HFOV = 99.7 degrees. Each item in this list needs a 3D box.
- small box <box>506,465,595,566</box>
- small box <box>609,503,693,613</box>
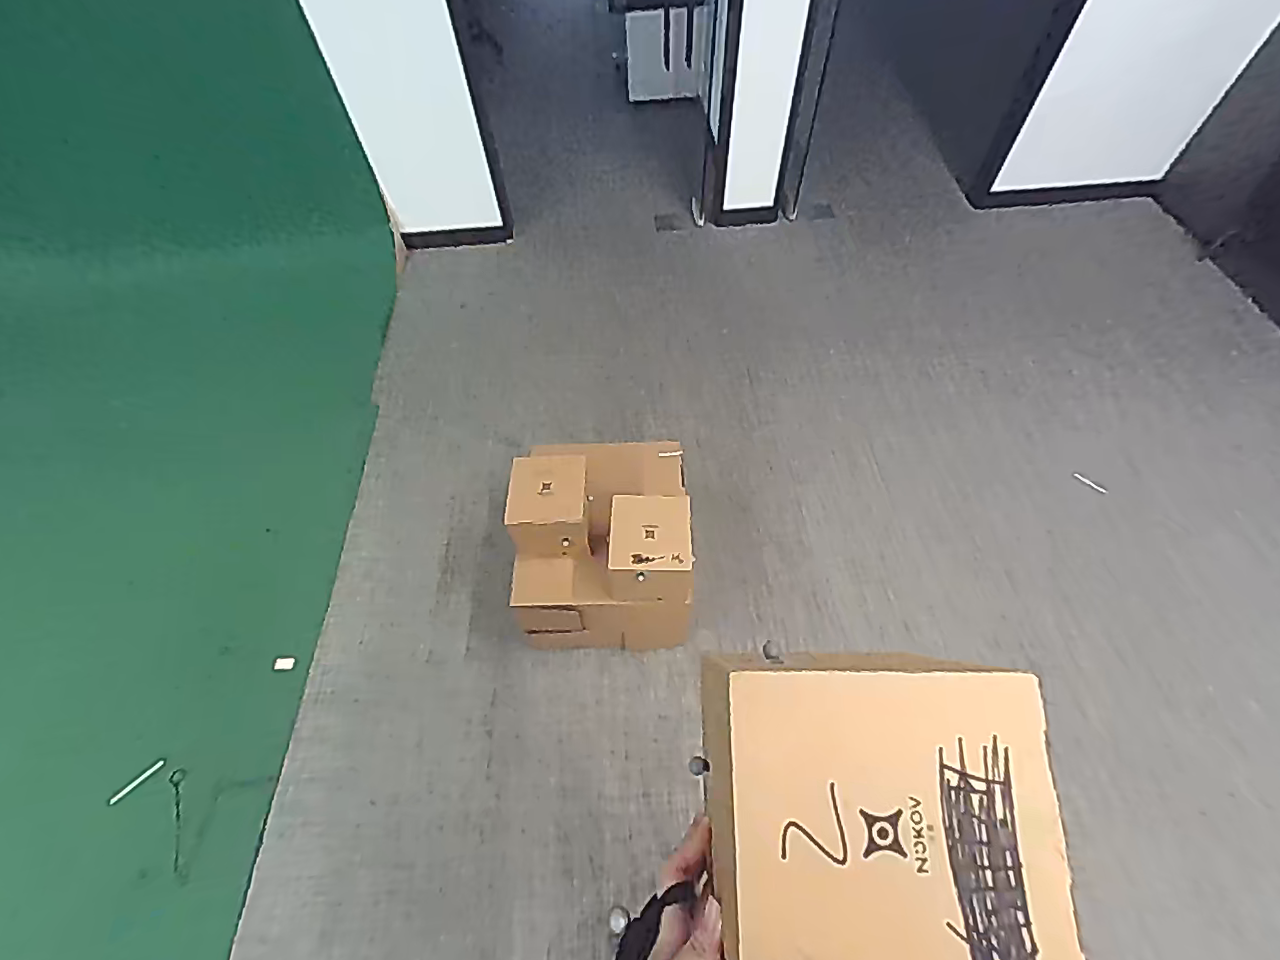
[{"bbox_3d":[-0.194,0.086,1.231,0.168,0.176,0.179,-2,53,2],"label":"small box"},{"bbox_3d":[0.026,0.168,1.159,0.168,0.176,0.179,0,54,2],"label":"small box"}]
